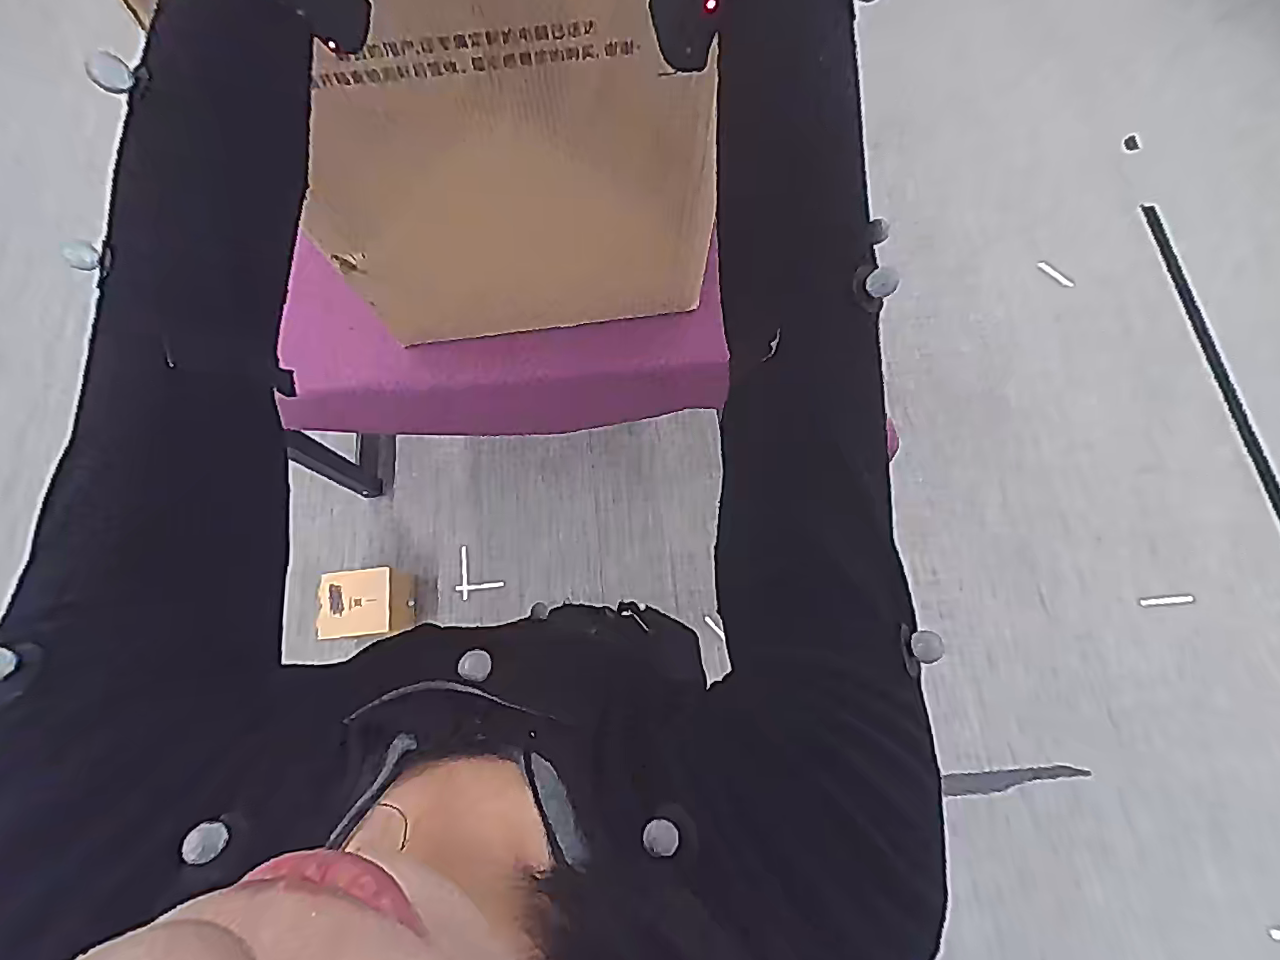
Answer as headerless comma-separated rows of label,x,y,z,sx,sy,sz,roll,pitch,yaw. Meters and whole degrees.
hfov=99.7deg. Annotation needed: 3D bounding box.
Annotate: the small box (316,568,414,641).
small box,-0.720,0.334,1.429,0.179,0.176,0.168,-6,74,-3
